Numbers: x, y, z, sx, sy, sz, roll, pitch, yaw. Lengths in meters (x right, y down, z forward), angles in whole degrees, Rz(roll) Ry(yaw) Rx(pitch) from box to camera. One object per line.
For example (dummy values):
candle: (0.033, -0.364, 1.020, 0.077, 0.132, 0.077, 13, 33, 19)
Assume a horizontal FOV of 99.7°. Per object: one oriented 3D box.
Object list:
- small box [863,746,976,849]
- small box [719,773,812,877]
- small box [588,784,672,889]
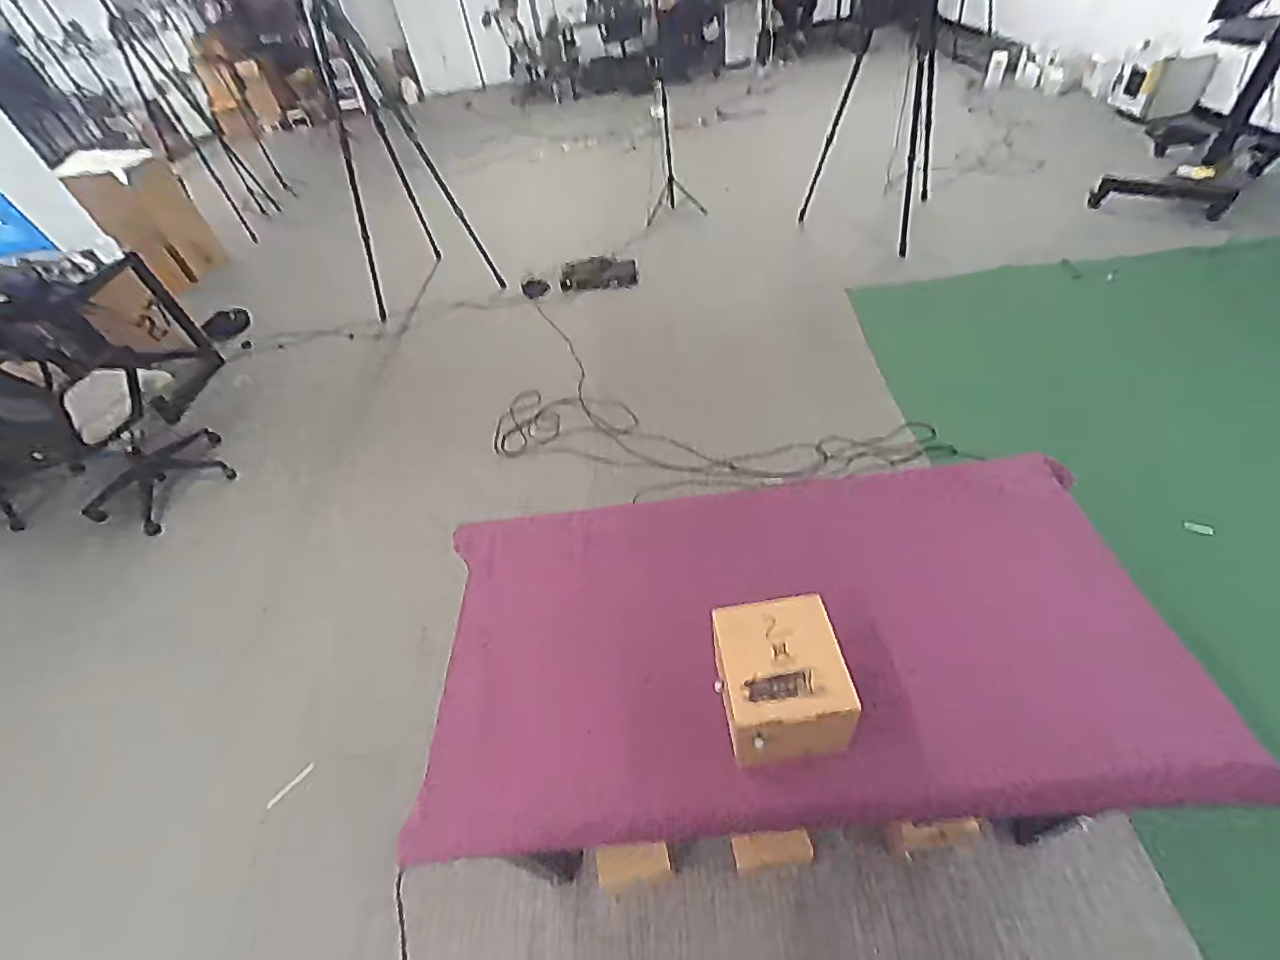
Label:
small box: (0.655, 0.763, 1.291, 0.168, 0.176, 0.179, -8, 46, 1)
small box: (0.293, 0.828, 1.296, 0.179, 0.176, 0.168, -12, 46, 0)
small box: (-0.022, 0.869, 1.310, 0.168, 0.176, 0.179, -13, 47, -2)
